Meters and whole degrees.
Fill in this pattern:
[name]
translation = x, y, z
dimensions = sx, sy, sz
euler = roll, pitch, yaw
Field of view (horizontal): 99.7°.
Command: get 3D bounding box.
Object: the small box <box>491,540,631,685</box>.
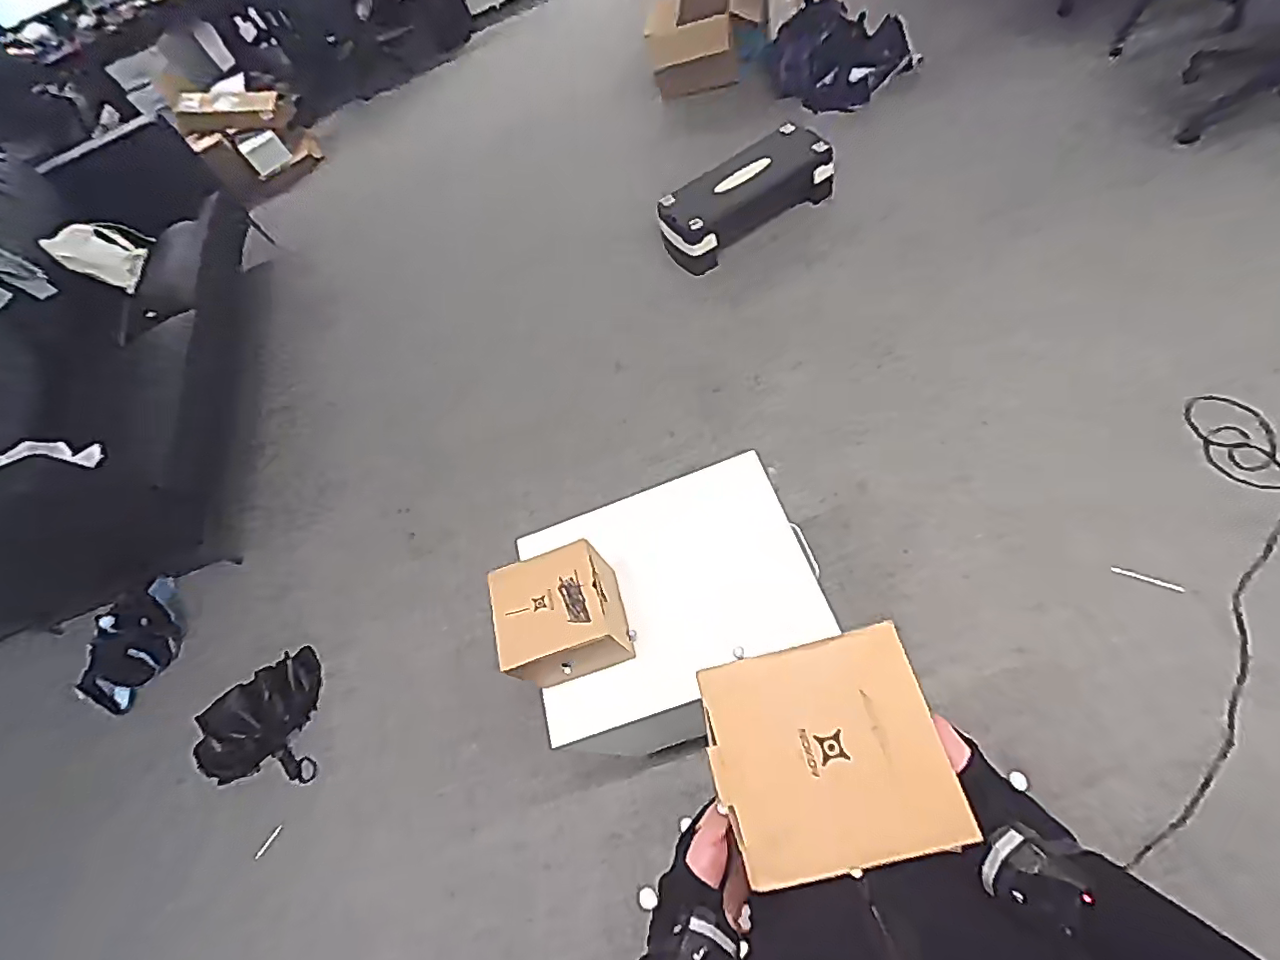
[small box]
translation = -0.124, 0.227, 0.903
dimensions = 0.179, 0.176, 0.168
euler = -20, 58, 5
